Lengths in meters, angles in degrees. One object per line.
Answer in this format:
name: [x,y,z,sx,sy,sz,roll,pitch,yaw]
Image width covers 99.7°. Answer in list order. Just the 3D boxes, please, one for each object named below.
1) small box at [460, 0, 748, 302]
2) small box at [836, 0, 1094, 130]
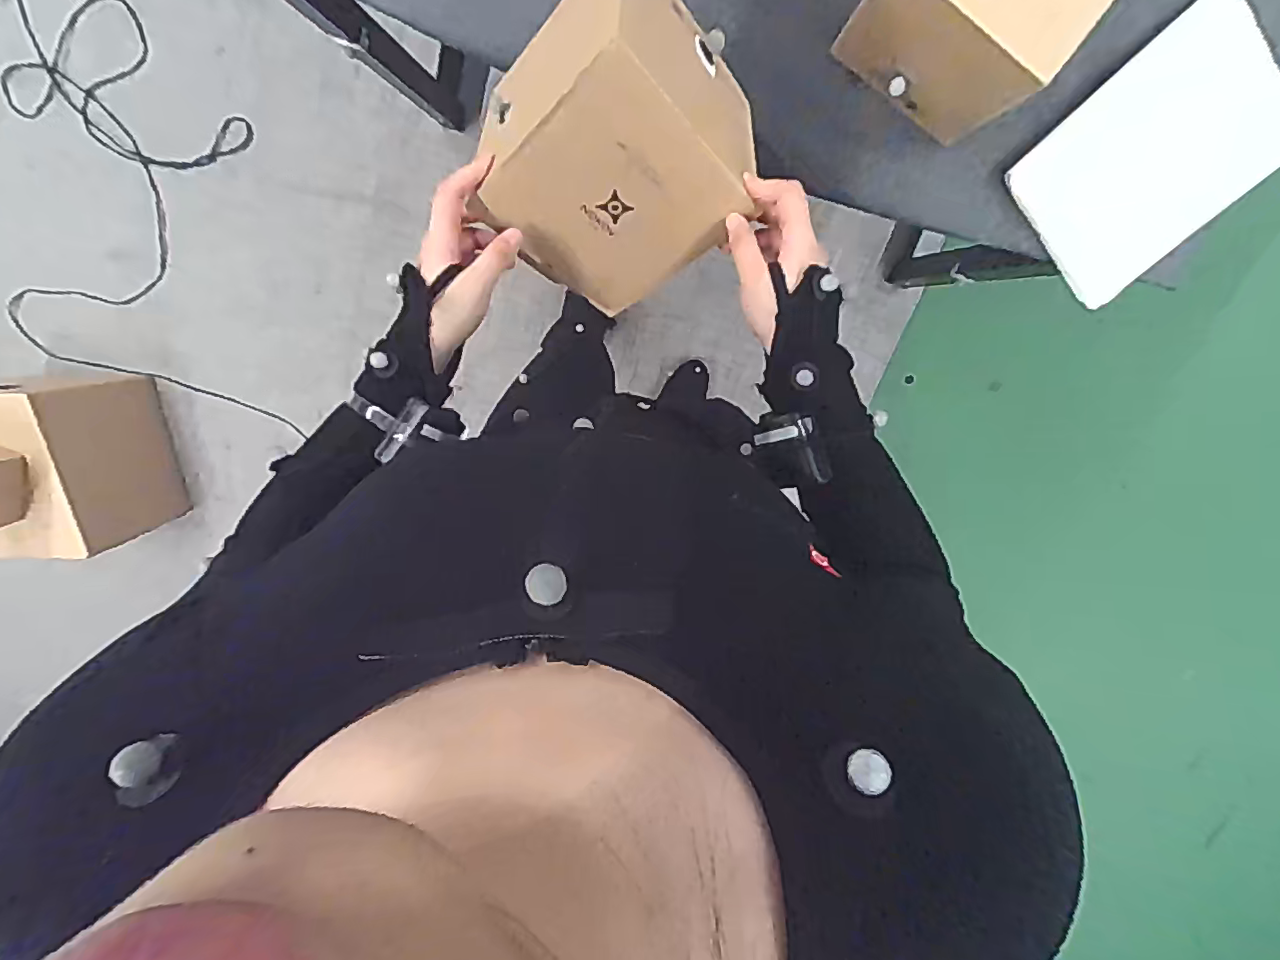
small box: [-0.027,-0.299,0.467,0.179,0.176,0.168,-24,145,39]
small box: [0.309,-0.467,0.488,0.168,0.176,0.179,33,106,-7]
